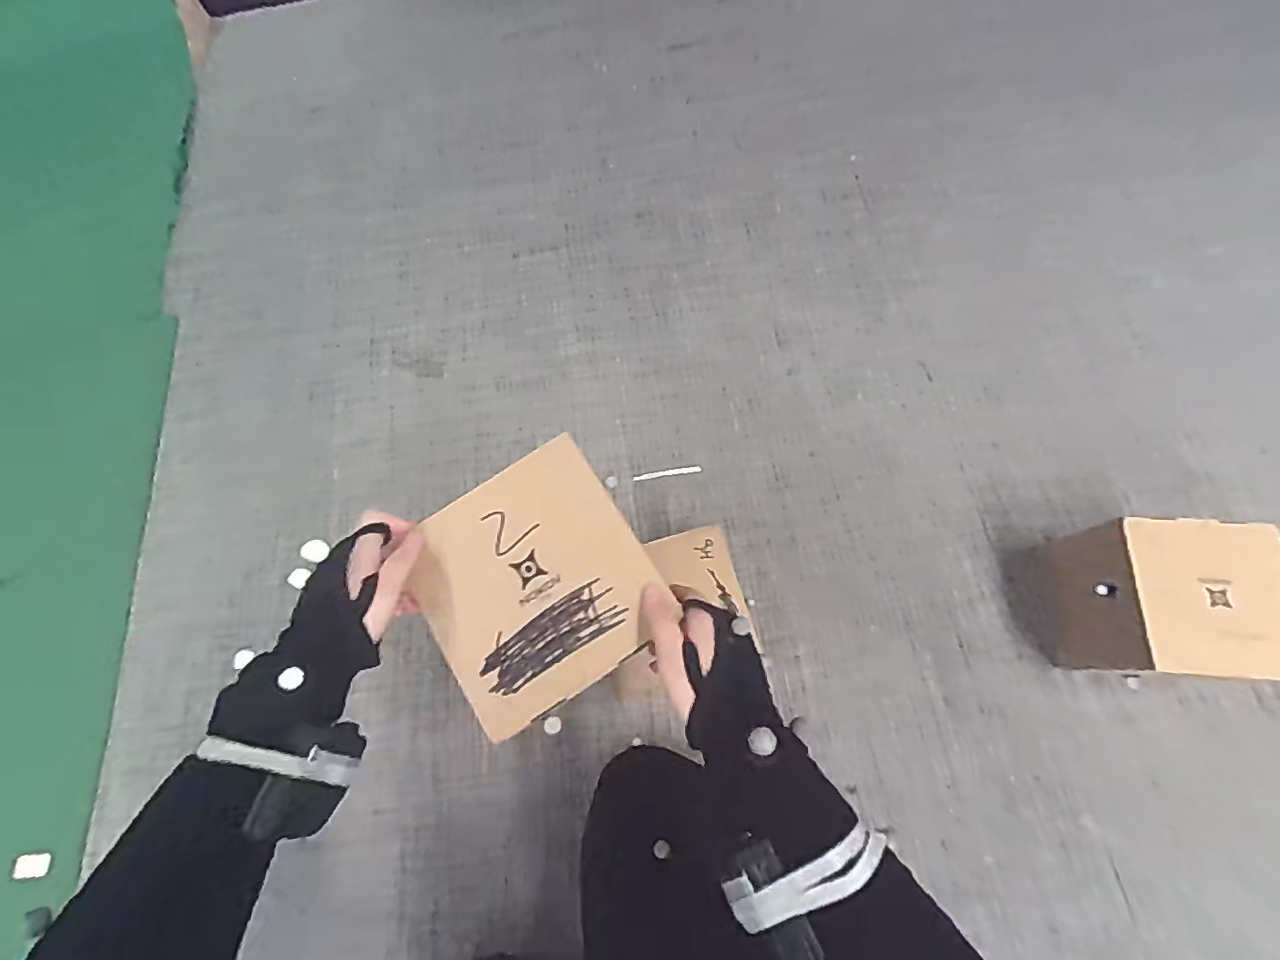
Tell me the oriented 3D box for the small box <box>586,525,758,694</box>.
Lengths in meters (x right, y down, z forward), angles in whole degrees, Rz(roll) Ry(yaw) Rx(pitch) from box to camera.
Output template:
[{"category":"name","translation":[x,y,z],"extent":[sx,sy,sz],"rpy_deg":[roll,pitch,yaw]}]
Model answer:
[{"category":"small box","translation":[0.042,0.179,0.716],"extent":[0.179,0.176,0.168],"rpy_deg":[-16,69,0]}]

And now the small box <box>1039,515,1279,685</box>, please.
[{"category":"small box","translation":[0.640,0.155,0.676],"extent":[0.168,0.176,0.179],"rpy_deg":[3,70,6]}]
